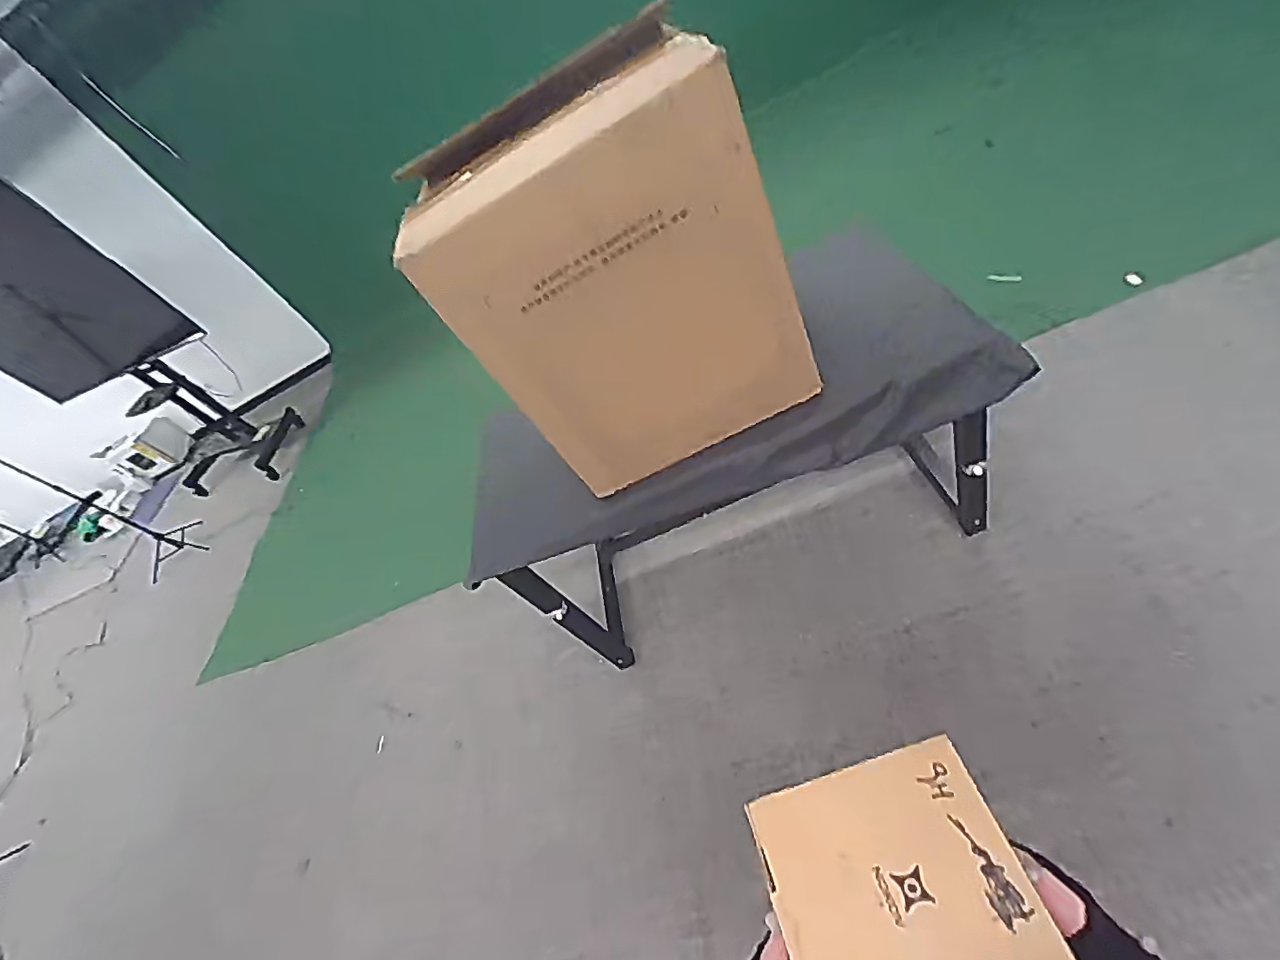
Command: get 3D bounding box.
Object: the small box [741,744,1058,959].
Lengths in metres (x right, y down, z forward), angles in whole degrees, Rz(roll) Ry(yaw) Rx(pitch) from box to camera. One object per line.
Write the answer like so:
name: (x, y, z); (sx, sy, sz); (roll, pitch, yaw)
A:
small box: (0.200, 0.348, 0.459); (0.179, 0.176, 0.168); (-19, 54, 1)
